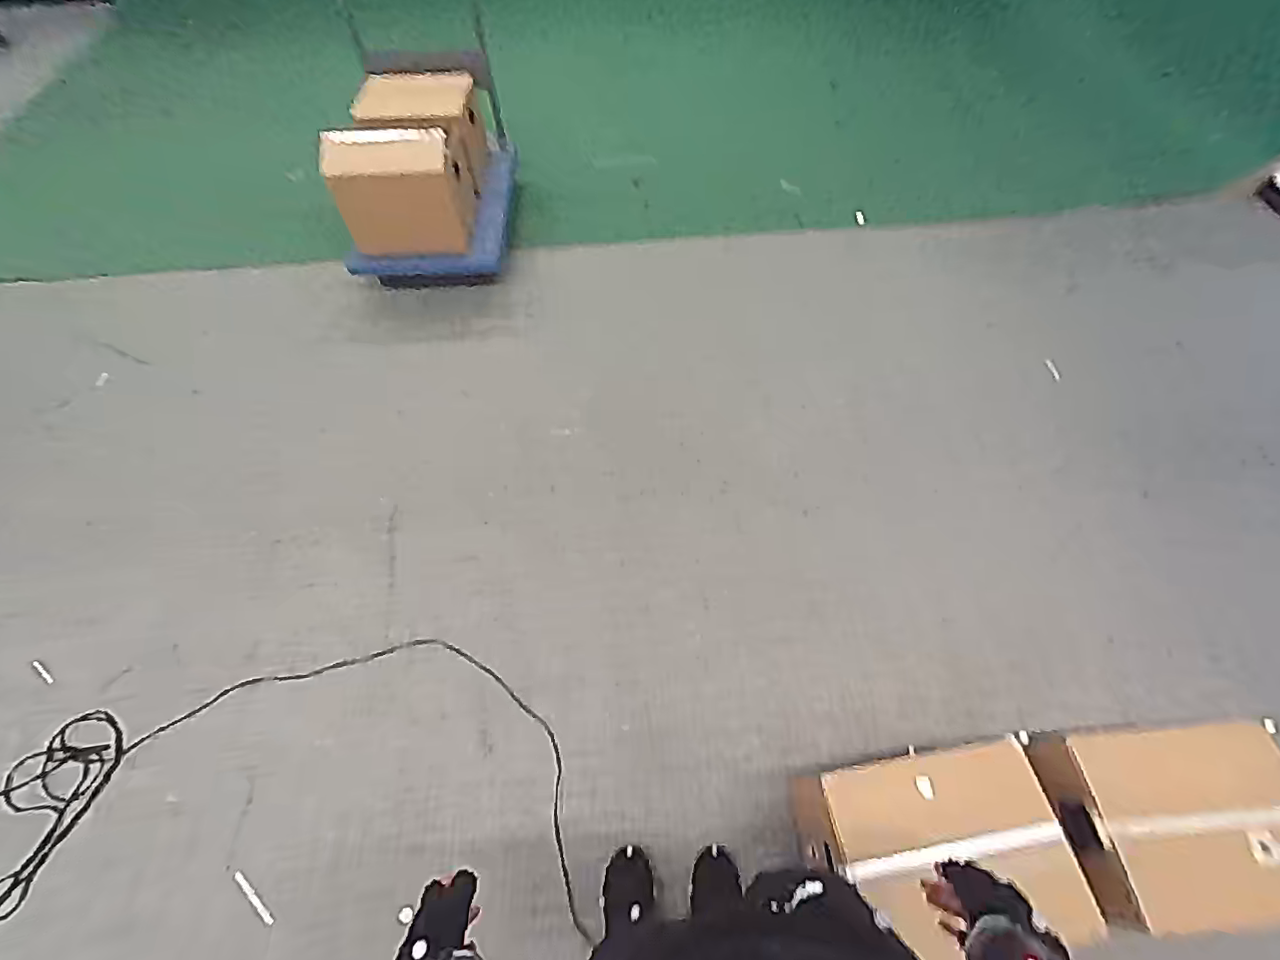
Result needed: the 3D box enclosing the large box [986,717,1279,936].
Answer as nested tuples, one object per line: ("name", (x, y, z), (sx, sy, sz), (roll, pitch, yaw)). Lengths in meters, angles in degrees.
("large box", (1.036, 0.691, 1.108), (0.408, 0.320, 0.320), (-3, 59, -2))
